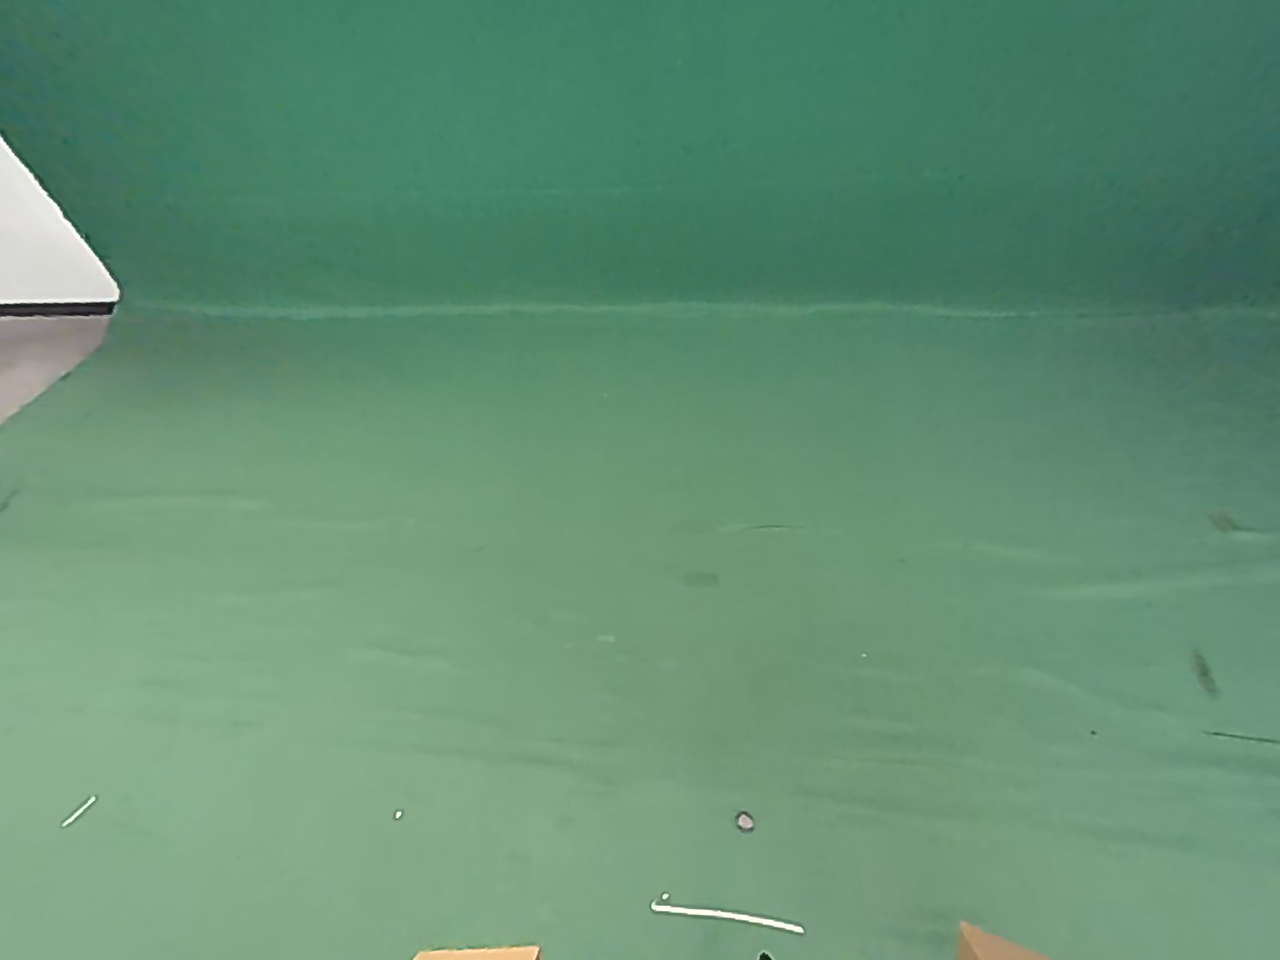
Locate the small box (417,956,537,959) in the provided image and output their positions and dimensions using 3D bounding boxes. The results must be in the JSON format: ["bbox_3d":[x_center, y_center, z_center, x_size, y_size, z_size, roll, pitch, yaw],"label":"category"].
[{"bbox_3d":[-0.216,0.696,0.617,0.168,0.179,0.176,-4,80,2],"label":"small box"}]
